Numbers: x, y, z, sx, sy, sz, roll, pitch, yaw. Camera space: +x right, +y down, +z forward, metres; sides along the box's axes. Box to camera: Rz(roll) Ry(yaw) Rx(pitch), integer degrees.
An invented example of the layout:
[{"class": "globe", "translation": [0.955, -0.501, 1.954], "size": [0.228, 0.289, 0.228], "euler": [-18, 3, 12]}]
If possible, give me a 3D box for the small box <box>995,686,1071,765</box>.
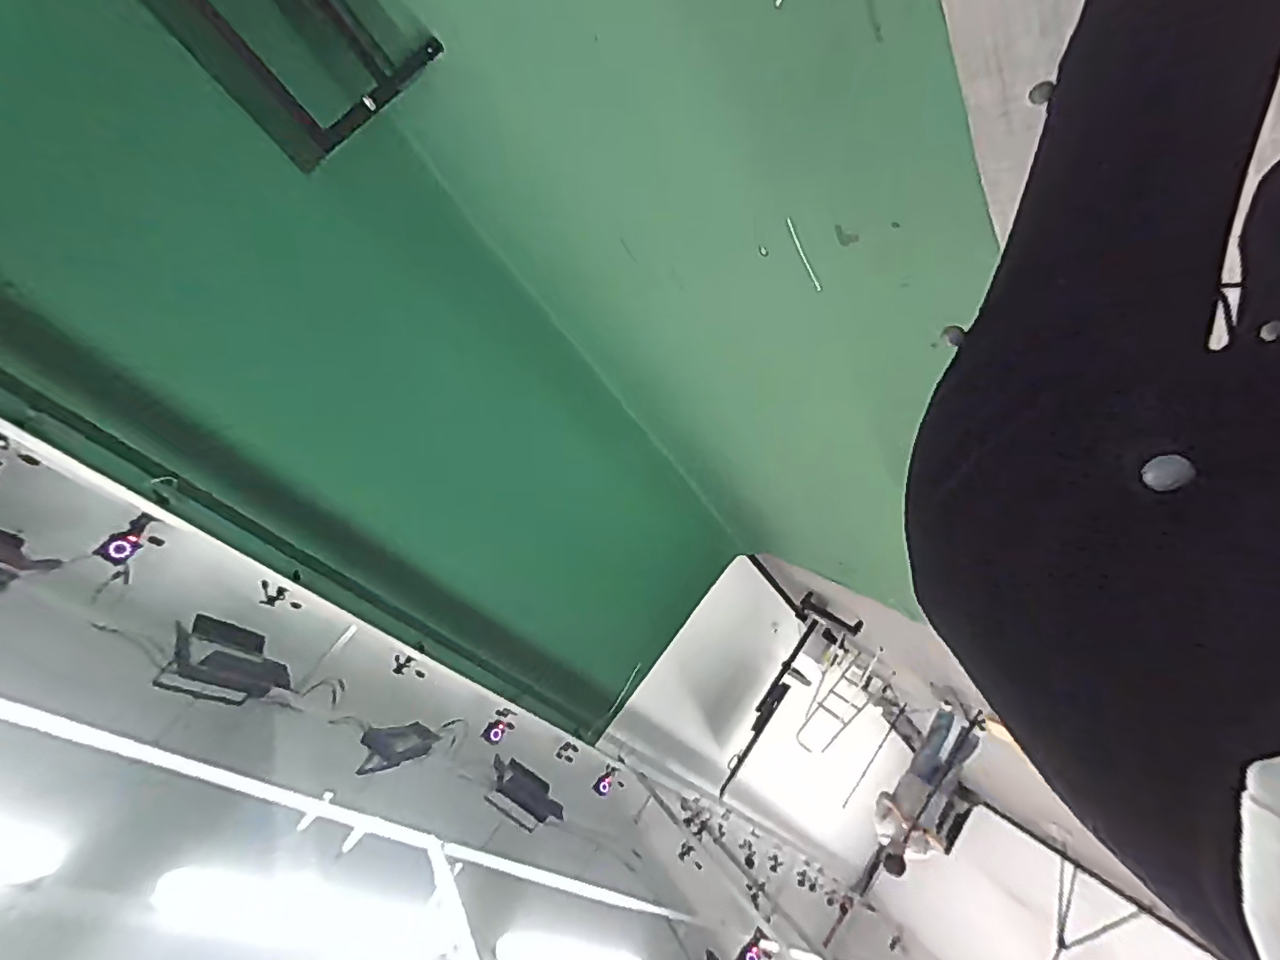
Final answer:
[{"class": "small box", "translation": [1.423, 0.883, 1.955], "size": [0.179, 0.176, 0.168], "euler": [49, 165, -33]}]
